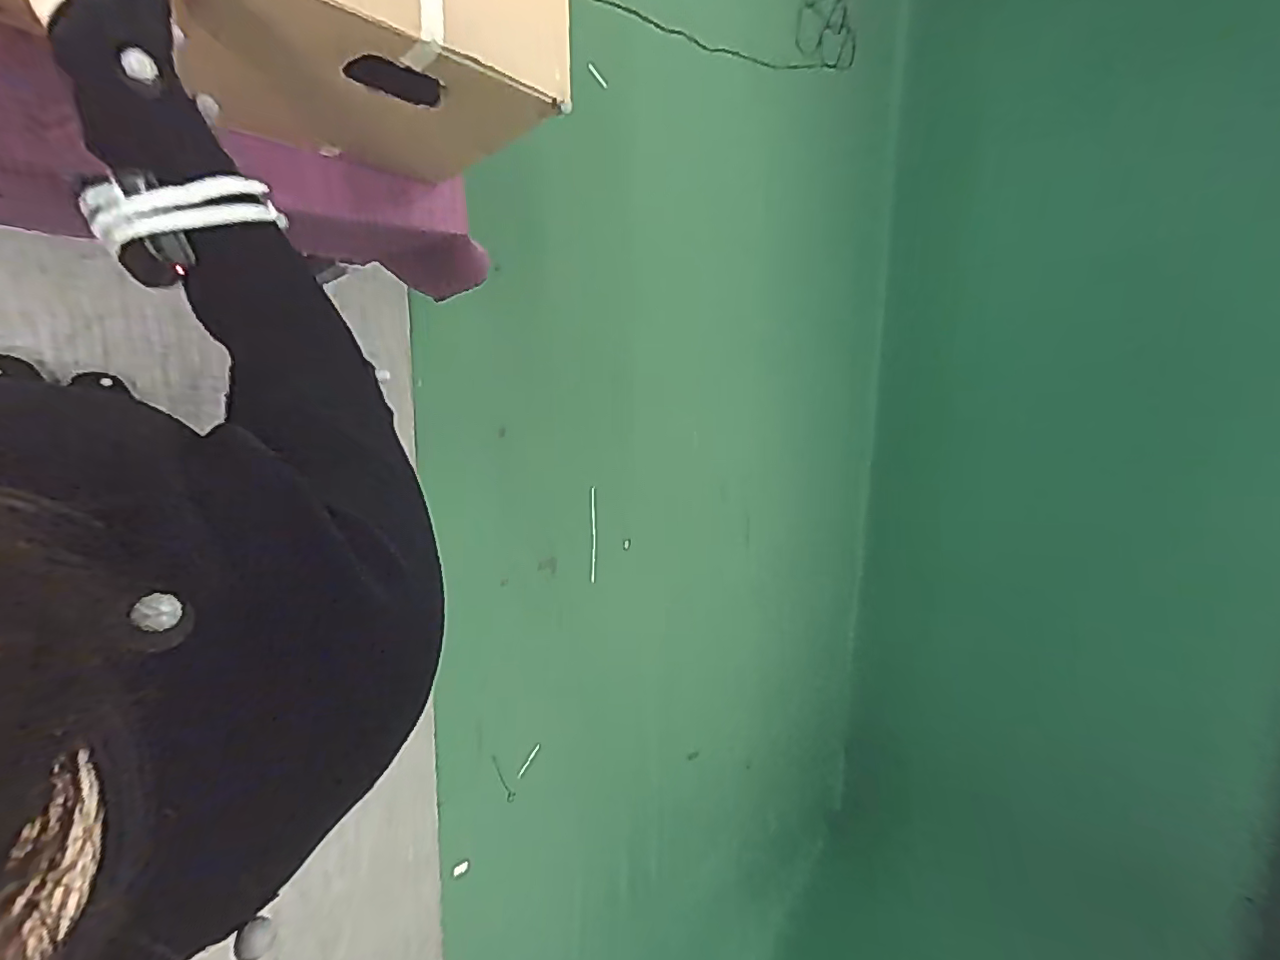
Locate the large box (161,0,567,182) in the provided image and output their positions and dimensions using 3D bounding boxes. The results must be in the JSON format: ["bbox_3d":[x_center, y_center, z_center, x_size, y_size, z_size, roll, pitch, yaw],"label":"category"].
[{"bbox_3d":[-0.295,-0.597,0.560,0.320,0.320,0.408,-9,104,-44],"label":"large box"}]
